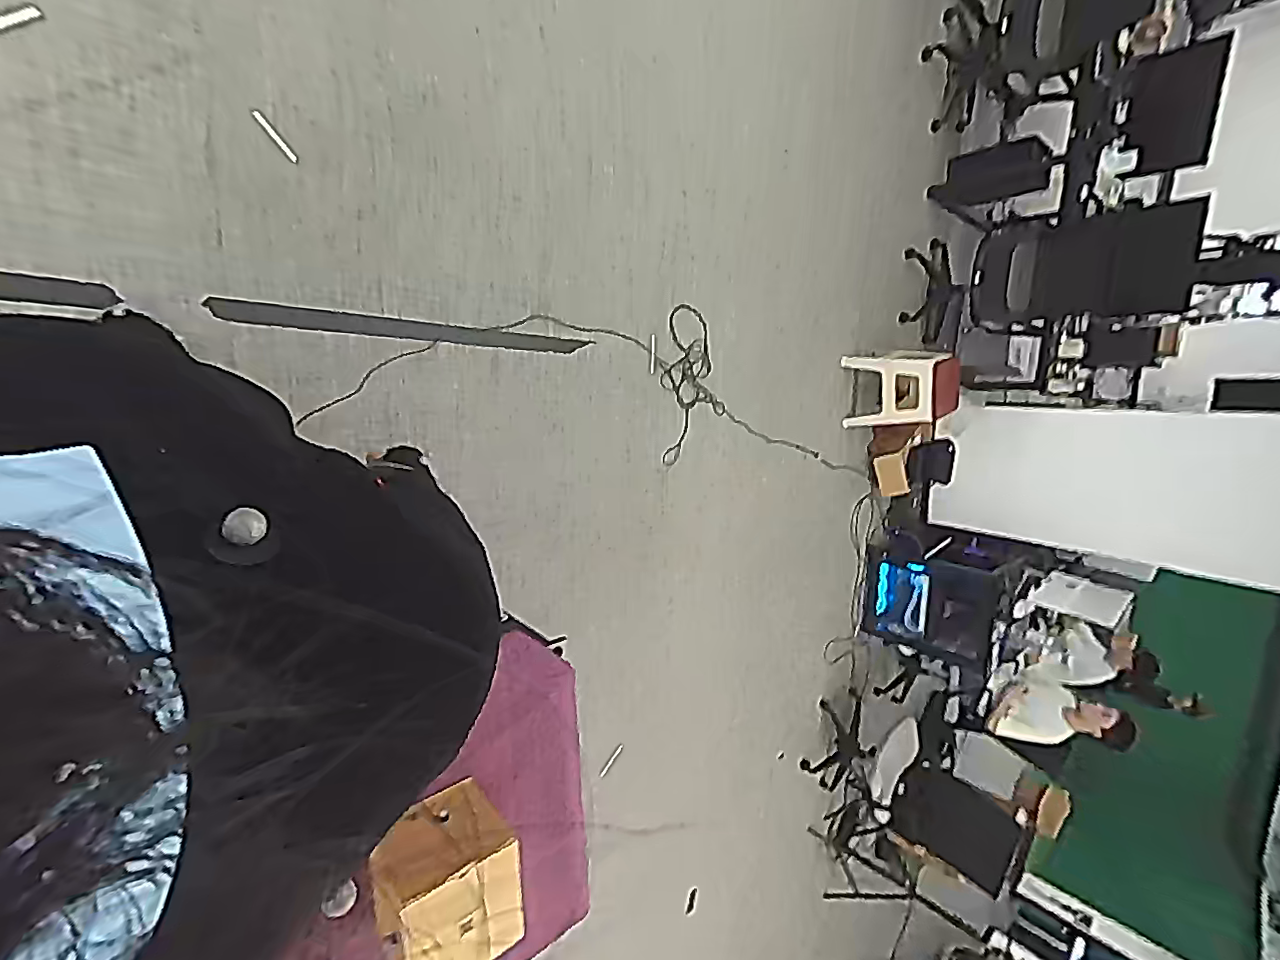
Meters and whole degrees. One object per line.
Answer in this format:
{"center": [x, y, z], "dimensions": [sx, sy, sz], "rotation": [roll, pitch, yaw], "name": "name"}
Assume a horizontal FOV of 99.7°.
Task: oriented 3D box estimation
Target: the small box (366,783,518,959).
{"center": [-0.298, 0.606, 0.813], "dimensions": [0.168, 0.176, 0.179], "rotation": [-10, 103, -40], "name": "small box"}
